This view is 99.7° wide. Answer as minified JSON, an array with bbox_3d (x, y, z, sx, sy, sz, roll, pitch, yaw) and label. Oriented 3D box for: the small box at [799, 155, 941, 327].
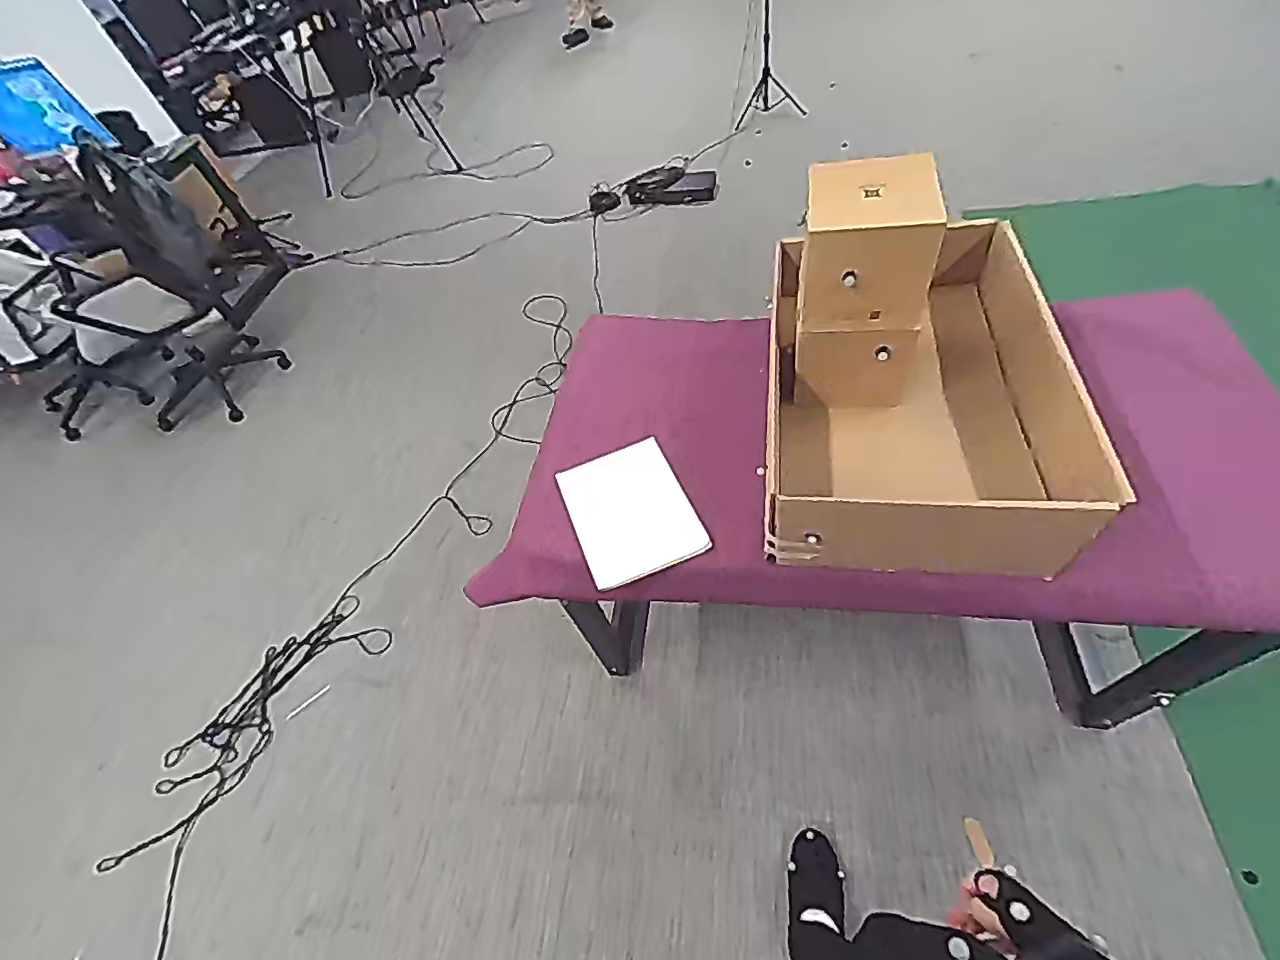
[{"bbox_3d":[0.324,-0.339,0.792,0.168,0.176,0.179,2,55,15],"label":"small box"}]
